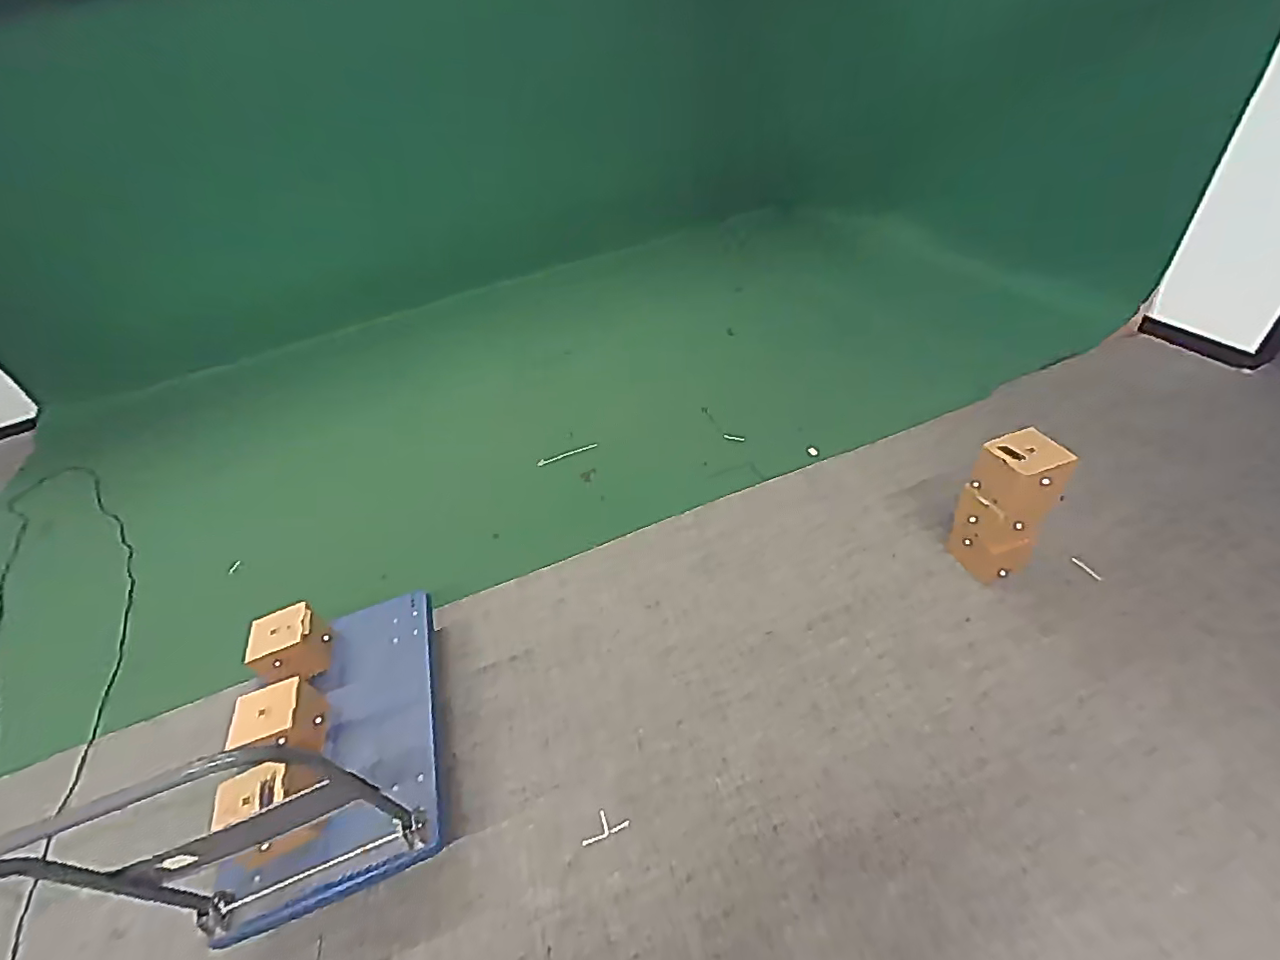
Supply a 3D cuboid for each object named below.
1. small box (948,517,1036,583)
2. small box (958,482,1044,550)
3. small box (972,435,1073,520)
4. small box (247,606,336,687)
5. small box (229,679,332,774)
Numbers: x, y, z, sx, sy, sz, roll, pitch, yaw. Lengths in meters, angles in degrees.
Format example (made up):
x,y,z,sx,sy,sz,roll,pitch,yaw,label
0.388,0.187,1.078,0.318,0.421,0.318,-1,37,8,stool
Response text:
x,y,z,sx,sy,sz,roll,pitch,yaw,label
1.191,0.221,1.846,0.168,0.176,0.179,-17,42,-4,small box
1.158,0.100,1.741,0.179,0.176,0.168,-18,42,-4,small box
1.143,-0.005,1.637,0.179,0.176,0.168,-18,42,-6,small box
-1.133,0.551,1.772,0.179,0.176,0.168,-20,44,-9,small box
-1.035,0.719,1.571,0.179,0.176,0.168,-19,42,-9,small box
